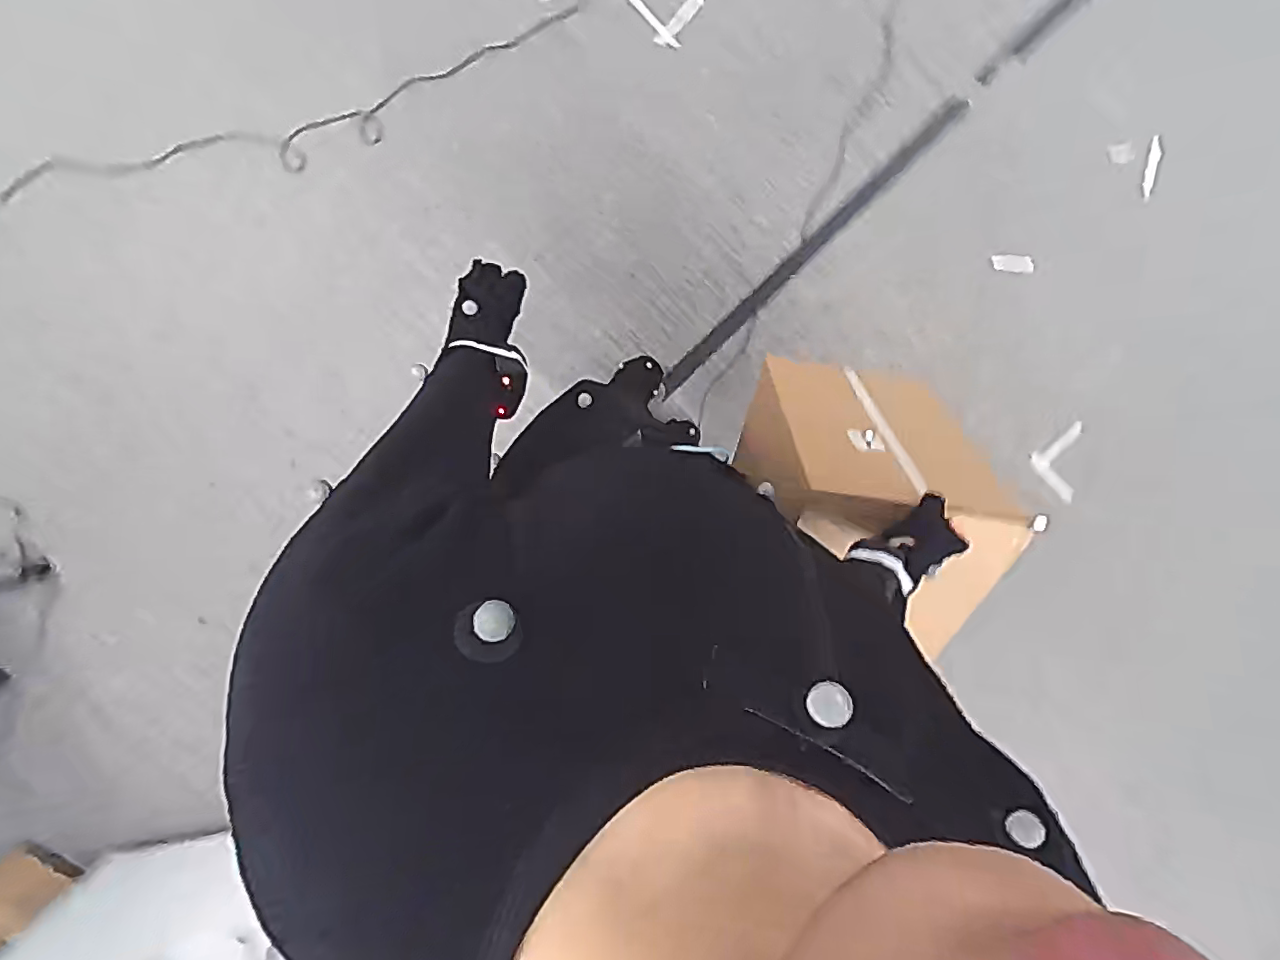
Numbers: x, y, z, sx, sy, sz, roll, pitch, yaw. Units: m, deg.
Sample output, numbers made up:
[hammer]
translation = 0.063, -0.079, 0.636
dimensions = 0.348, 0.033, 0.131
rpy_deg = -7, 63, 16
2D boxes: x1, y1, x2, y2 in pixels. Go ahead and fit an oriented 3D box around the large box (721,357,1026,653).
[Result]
[large box]
translation = 0.346, 0.030, 0.952
dimensions = 0.320, 0.408, 0.320
rpy_deg = 8, 128, -4
